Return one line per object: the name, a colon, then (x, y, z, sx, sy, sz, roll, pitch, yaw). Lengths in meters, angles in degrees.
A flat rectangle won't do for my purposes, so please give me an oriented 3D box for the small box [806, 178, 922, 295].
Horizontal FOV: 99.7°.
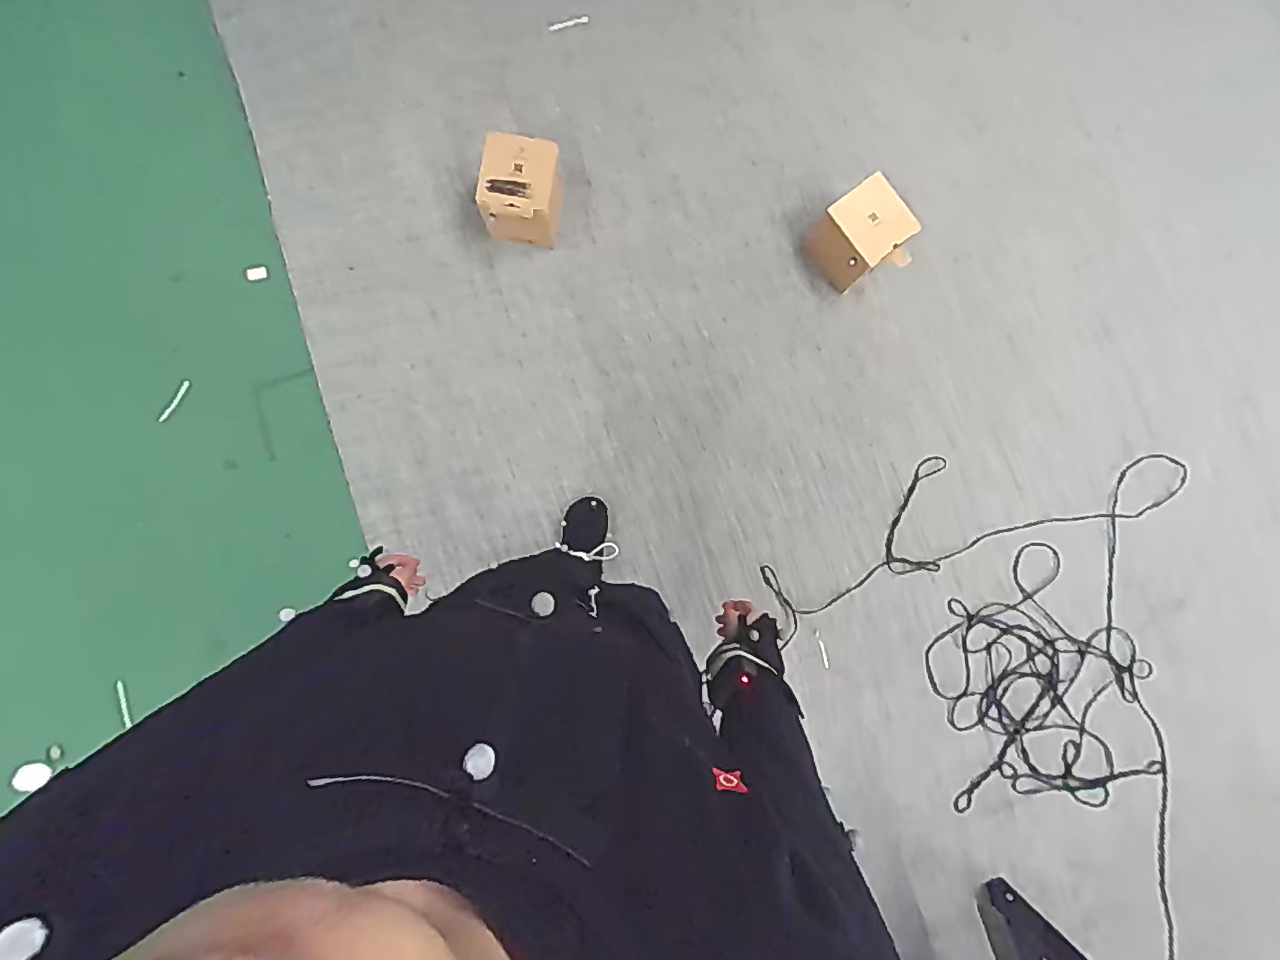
small box: (0.552, -0.603, 1.361, 0.168, 0.176, 0.179, -38, 91, -4)
